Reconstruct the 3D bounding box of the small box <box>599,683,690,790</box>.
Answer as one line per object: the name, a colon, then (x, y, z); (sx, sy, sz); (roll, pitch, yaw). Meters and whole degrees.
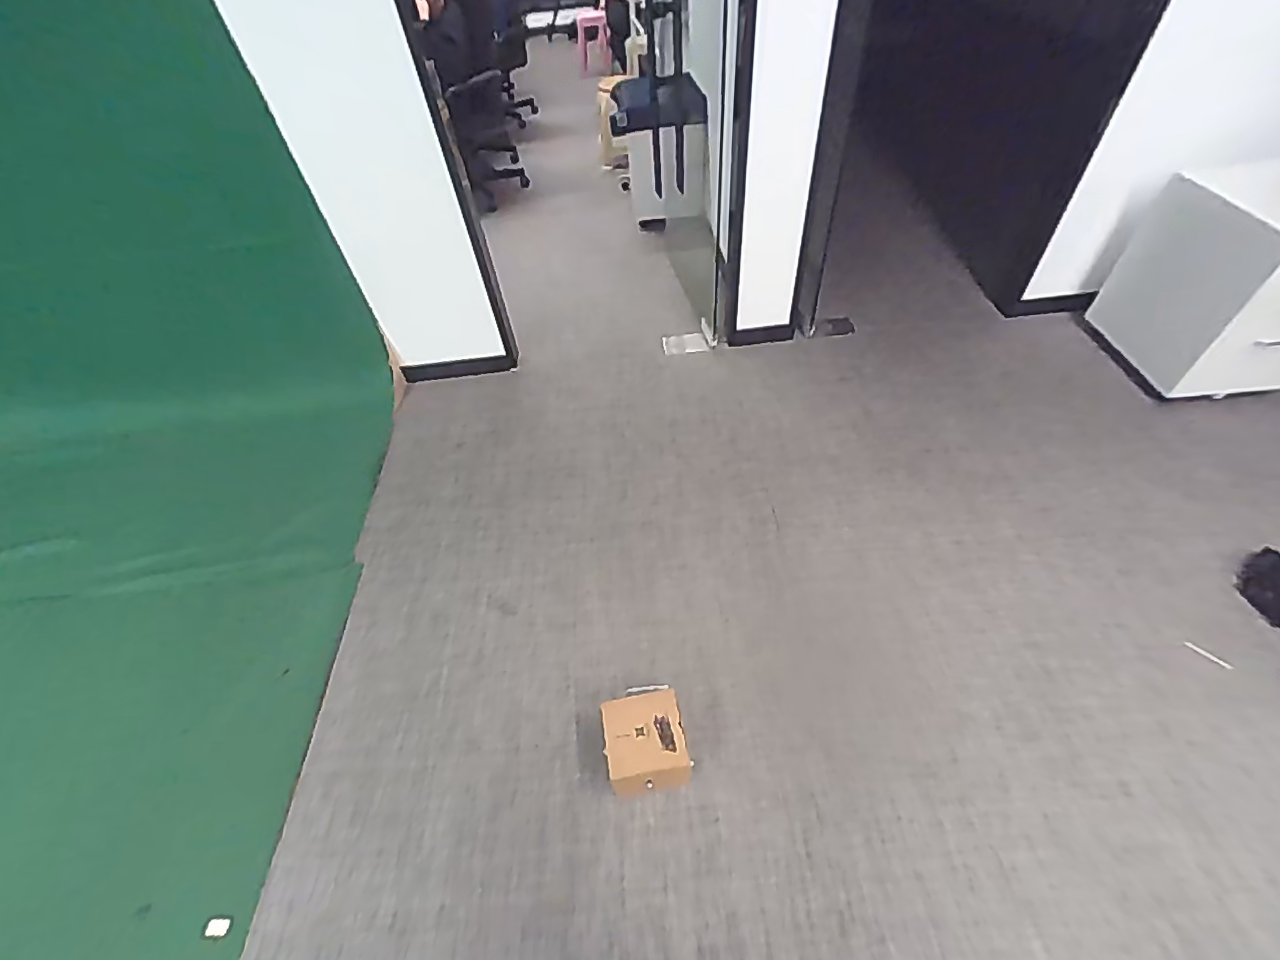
small box: (0.010, 0.602, 1.265); (0.179, 0.176, 0.168); (-12, 50, -6)
